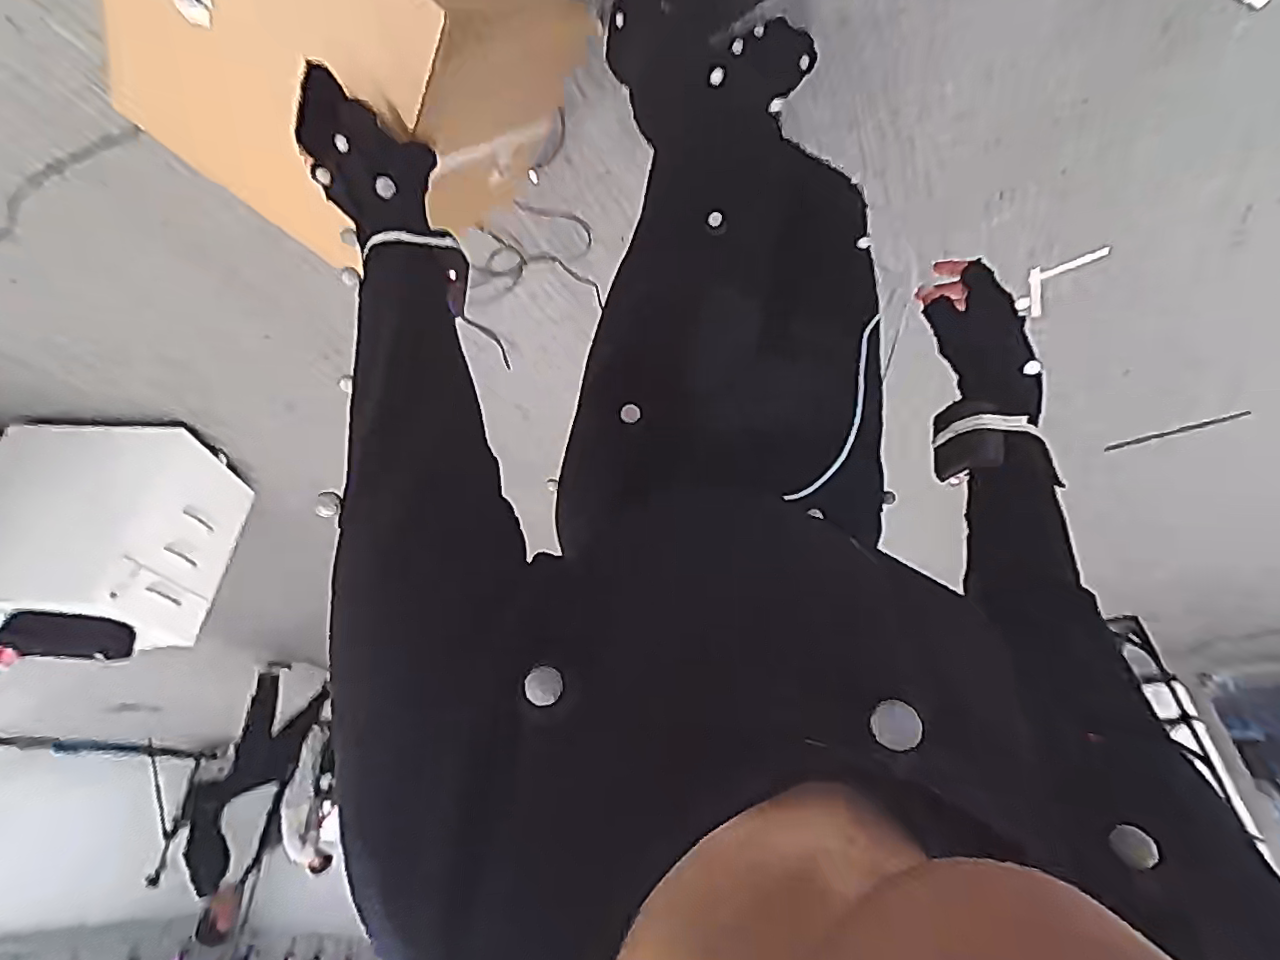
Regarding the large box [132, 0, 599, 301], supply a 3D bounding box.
[{"bbox_3d":[-0.311,-0.507,0.680,0.320,0.408,0.320,36,131,-12],"label":"large box"}]
